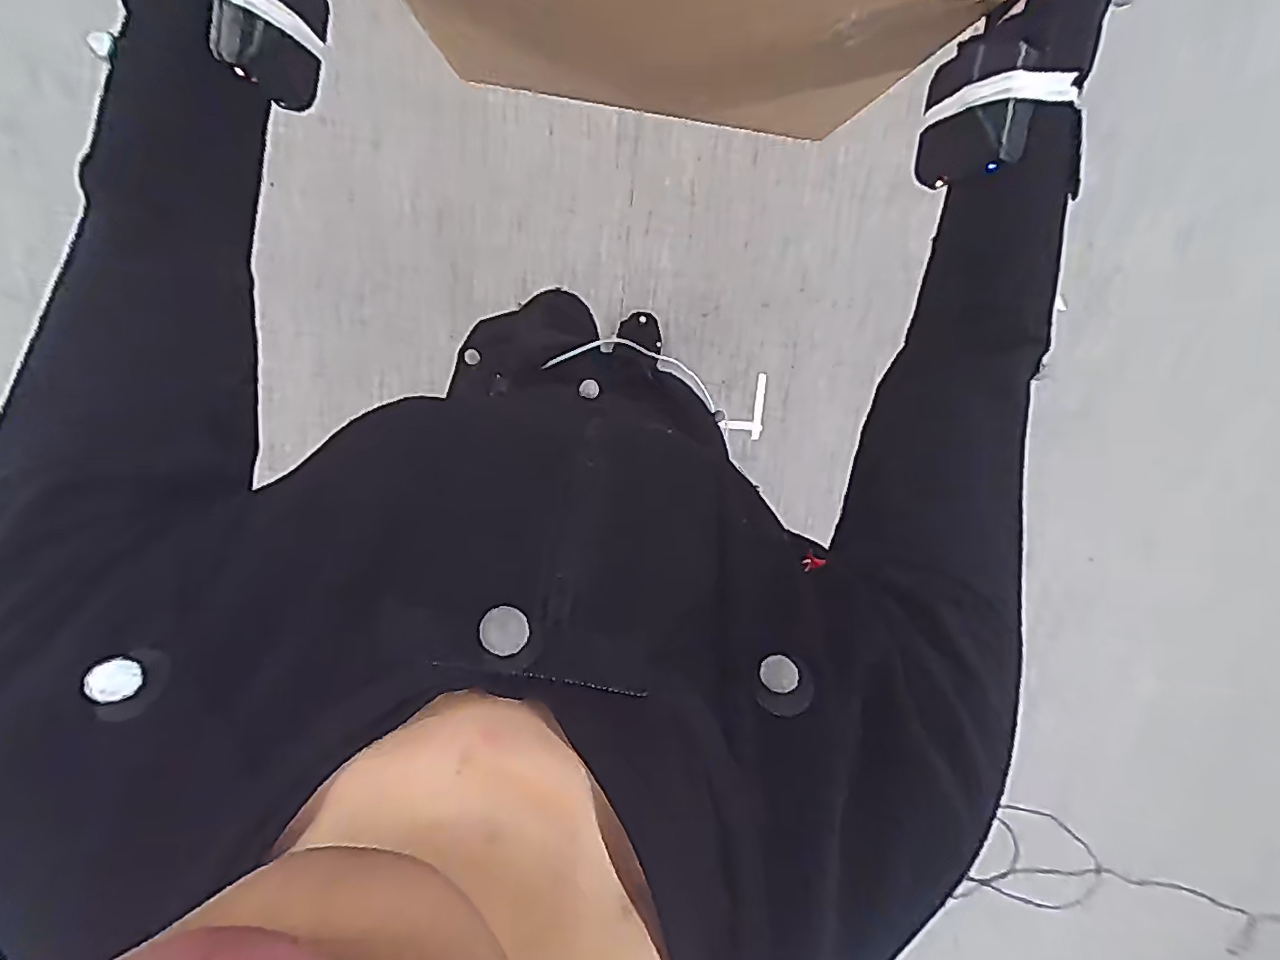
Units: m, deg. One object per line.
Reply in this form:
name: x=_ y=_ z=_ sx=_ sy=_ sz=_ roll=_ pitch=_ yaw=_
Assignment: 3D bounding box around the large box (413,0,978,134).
large box: x=0.030 y=-0.506 z=0.413 sx=0.408 sy=0.320 sz=0.320 roll=6 pitch=109 yaw=-5
